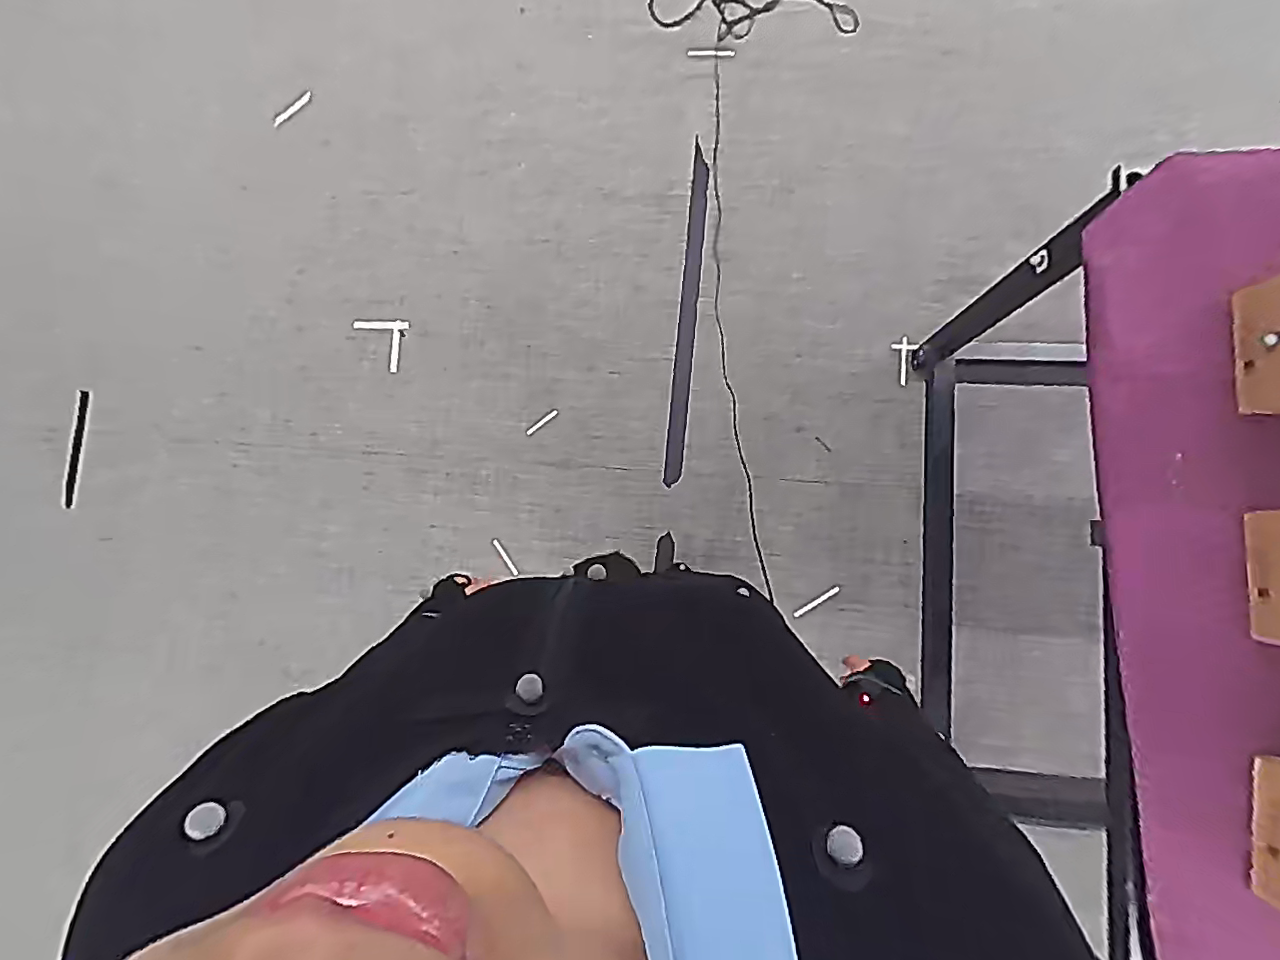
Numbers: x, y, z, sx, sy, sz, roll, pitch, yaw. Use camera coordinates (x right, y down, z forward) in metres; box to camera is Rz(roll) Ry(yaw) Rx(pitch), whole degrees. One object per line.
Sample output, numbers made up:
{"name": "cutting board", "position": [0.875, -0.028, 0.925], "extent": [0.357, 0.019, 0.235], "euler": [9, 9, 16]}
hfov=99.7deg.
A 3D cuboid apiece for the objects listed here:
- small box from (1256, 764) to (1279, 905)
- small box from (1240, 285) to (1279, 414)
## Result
{"name": "small box", "position": [0.843, 0.428, 0.578], "extent": [0.179, 0.176, 0.168], "euler": [7, 85, 4]}
{"name": "small box", "position": [0.880, -0.171, 0.633], "extent": [0.179, 0.176, 0.168], "euler": [1, 85, 5]}
